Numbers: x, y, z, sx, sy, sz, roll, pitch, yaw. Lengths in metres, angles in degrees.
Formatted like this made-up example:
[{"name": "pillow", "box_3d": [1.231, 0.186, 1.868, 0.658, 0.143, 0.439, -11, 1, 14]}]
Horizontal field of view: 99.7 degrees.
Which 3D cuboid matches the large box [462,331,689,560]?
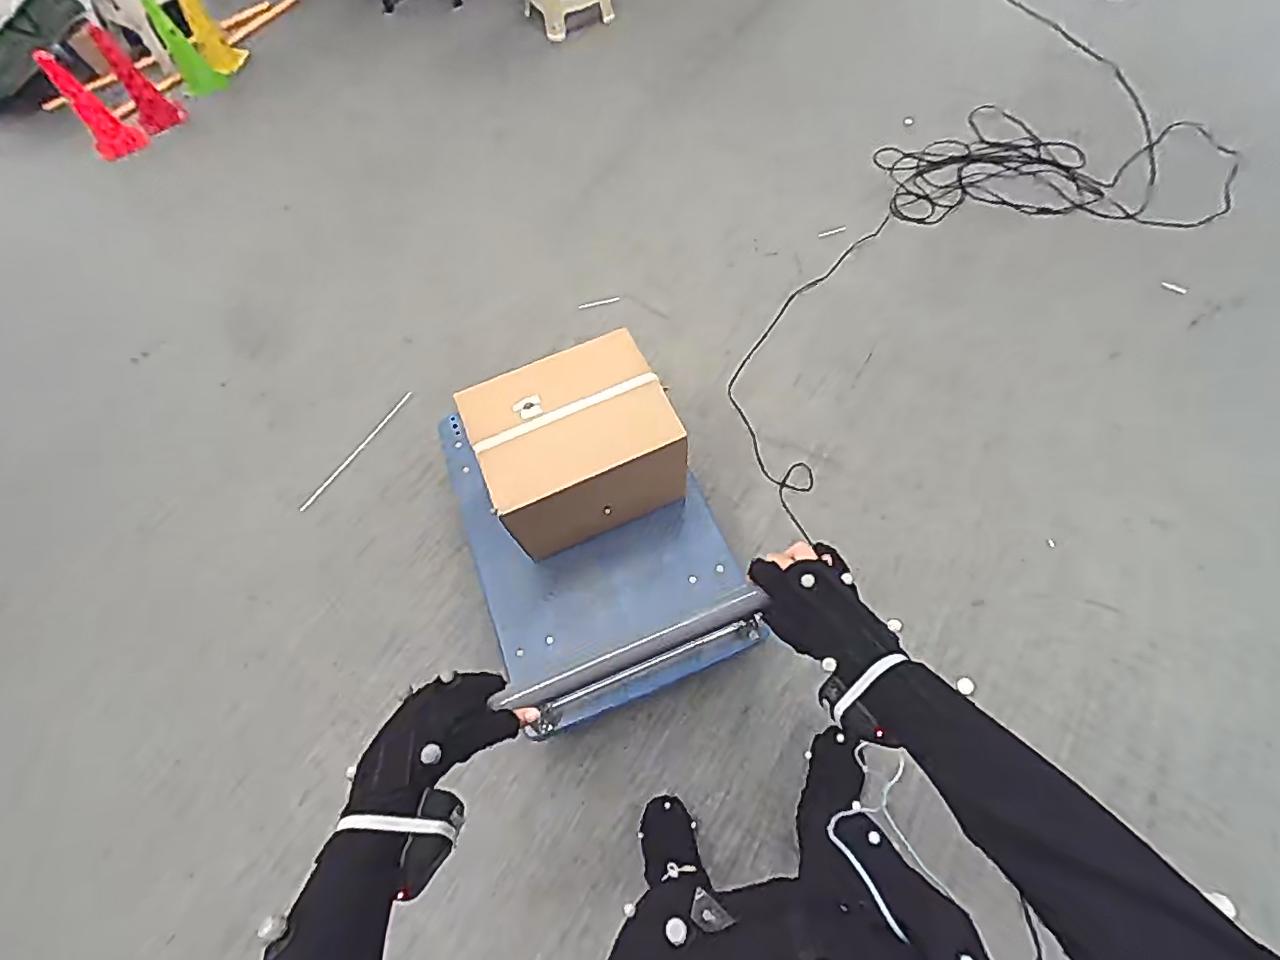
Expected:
[{"name": "large box", "box_3d": [-0.130, -0.067, 1.254, 0.408, 0.320, 0.320, -25, 65, -6]}]
